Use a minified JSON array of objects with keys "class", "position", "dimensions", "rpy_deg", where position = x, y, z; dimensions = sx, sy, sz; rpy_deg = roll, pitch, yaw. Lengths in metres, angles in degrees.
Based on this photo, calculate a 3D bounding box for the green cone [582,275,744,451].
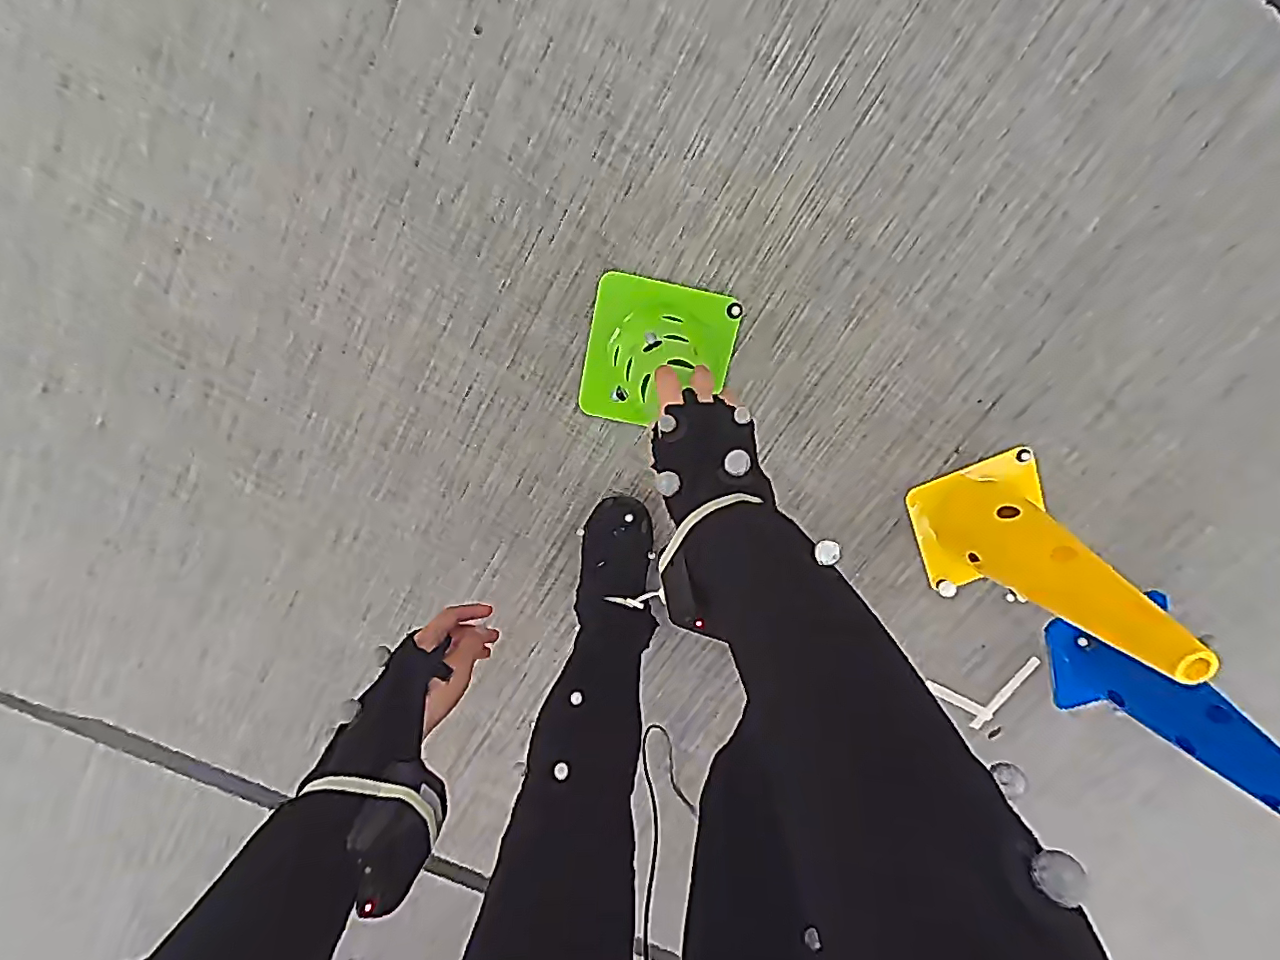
[{"class":"green cone","position":[0.031,-0.108,0.594],"dimensions":[0.200,0.368,0.202],"rpy_deg":[10,110,-4]}]
